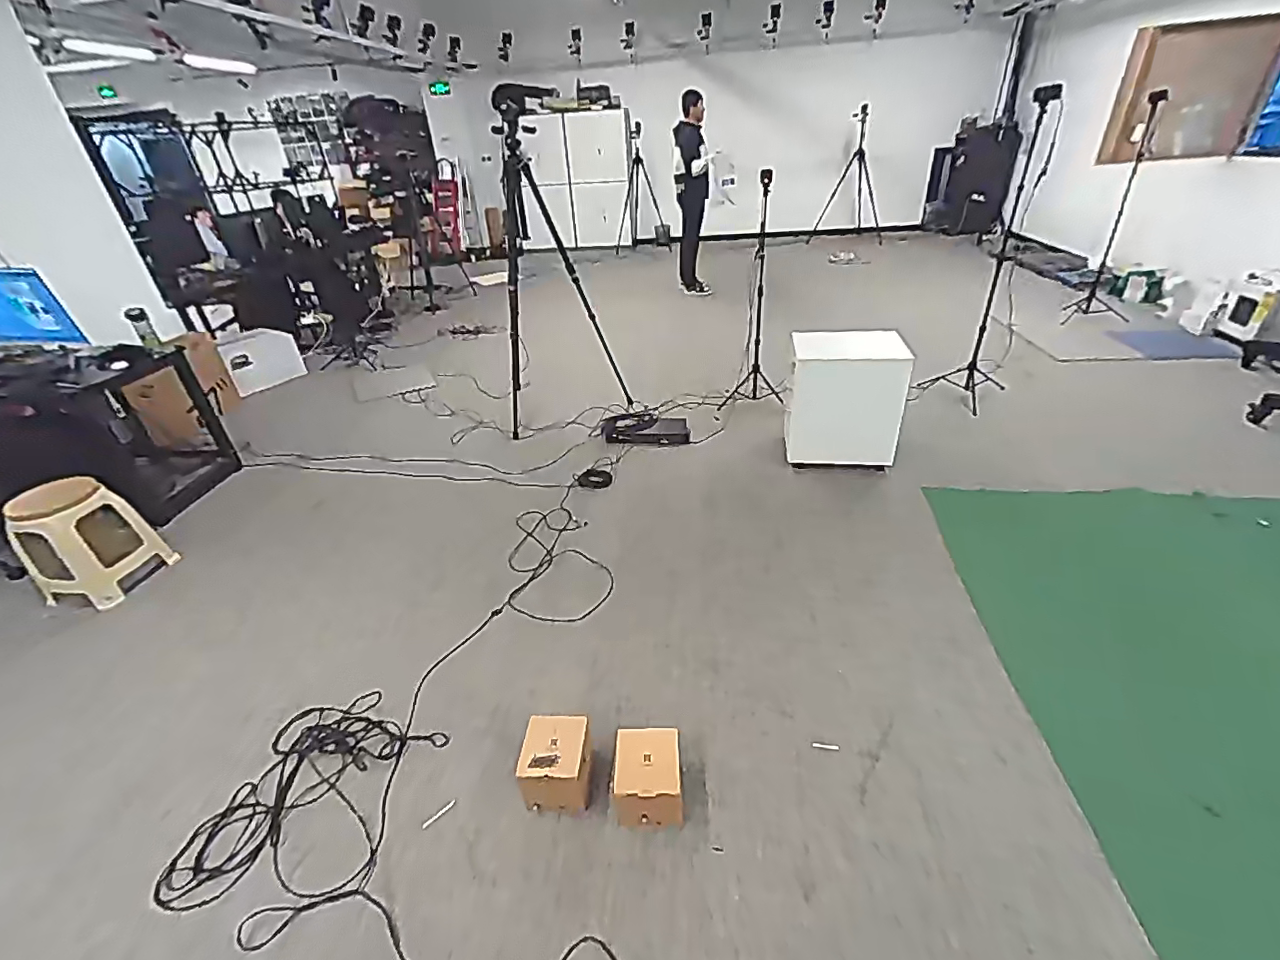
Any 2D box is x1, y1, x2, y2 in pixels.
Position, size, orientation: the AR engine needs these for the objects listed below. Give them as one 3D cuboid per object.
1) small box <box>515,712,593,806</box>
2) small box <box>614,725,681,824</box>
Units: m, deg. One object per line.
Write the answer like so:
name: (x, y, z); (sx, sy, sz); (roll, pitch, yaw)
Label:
small box: (-0.226, 0.765, 1.482); (0.168, 0.176, 0.179); (-1, 32, 5)
small box: (0.024, 0.779, 1.435); (0.168, 0.176, 0.179); (-3, 34, 3)
